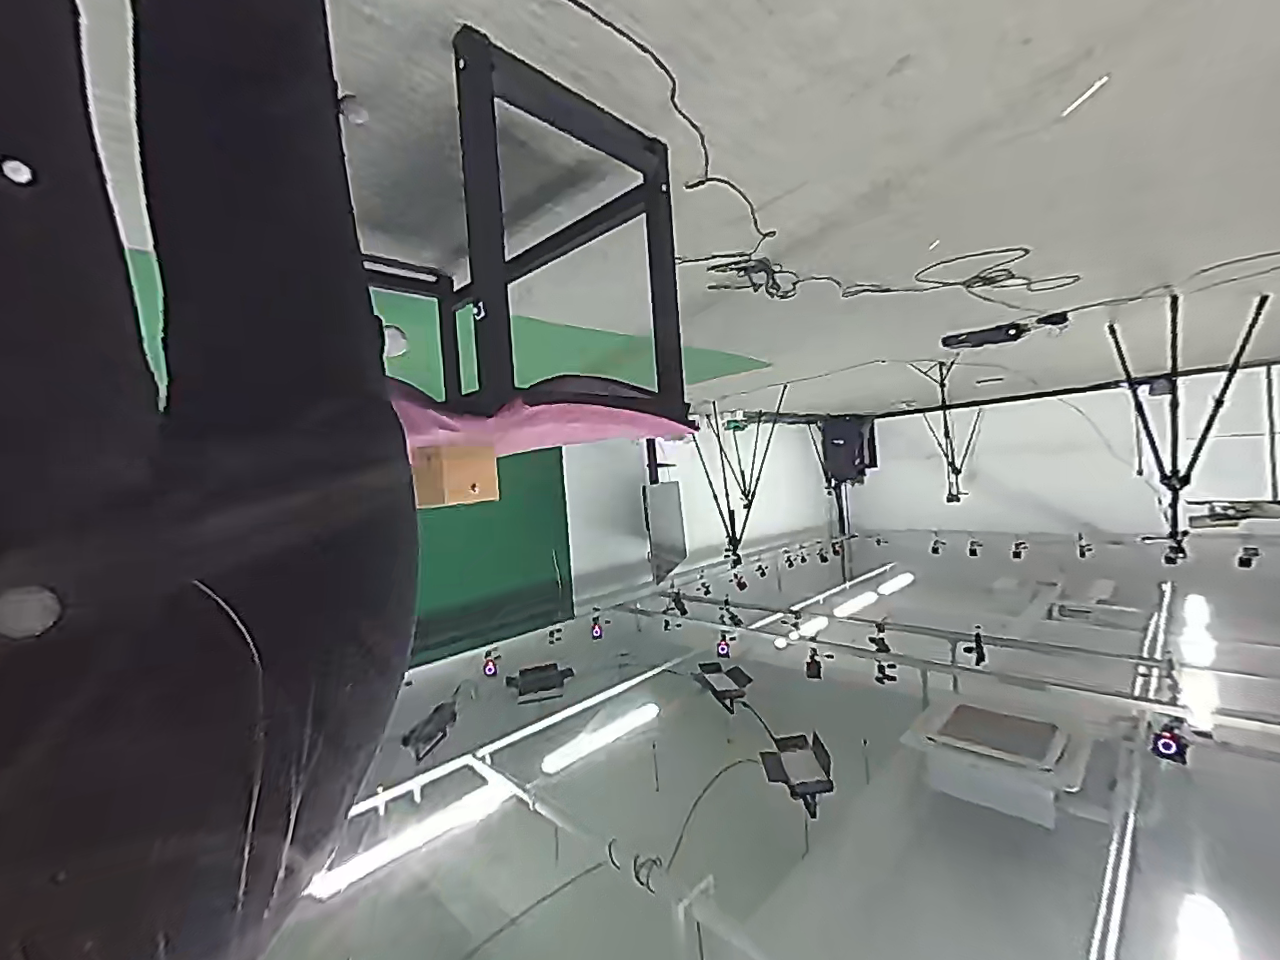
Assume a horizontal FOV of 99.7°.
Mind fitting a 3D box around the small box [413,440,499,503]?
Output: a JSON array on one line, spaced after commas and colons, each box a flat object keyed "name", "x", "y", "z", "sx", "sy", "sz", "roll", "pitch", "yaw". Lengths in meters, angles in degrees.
[{"name": "small box", "x": -0.530, "y": -0.025, "z": 1.557, "sx": 0.168, "sy": 0.176, "sz": 0.179, "roll": -5, "pitch": 180, "yaw": 40}]
